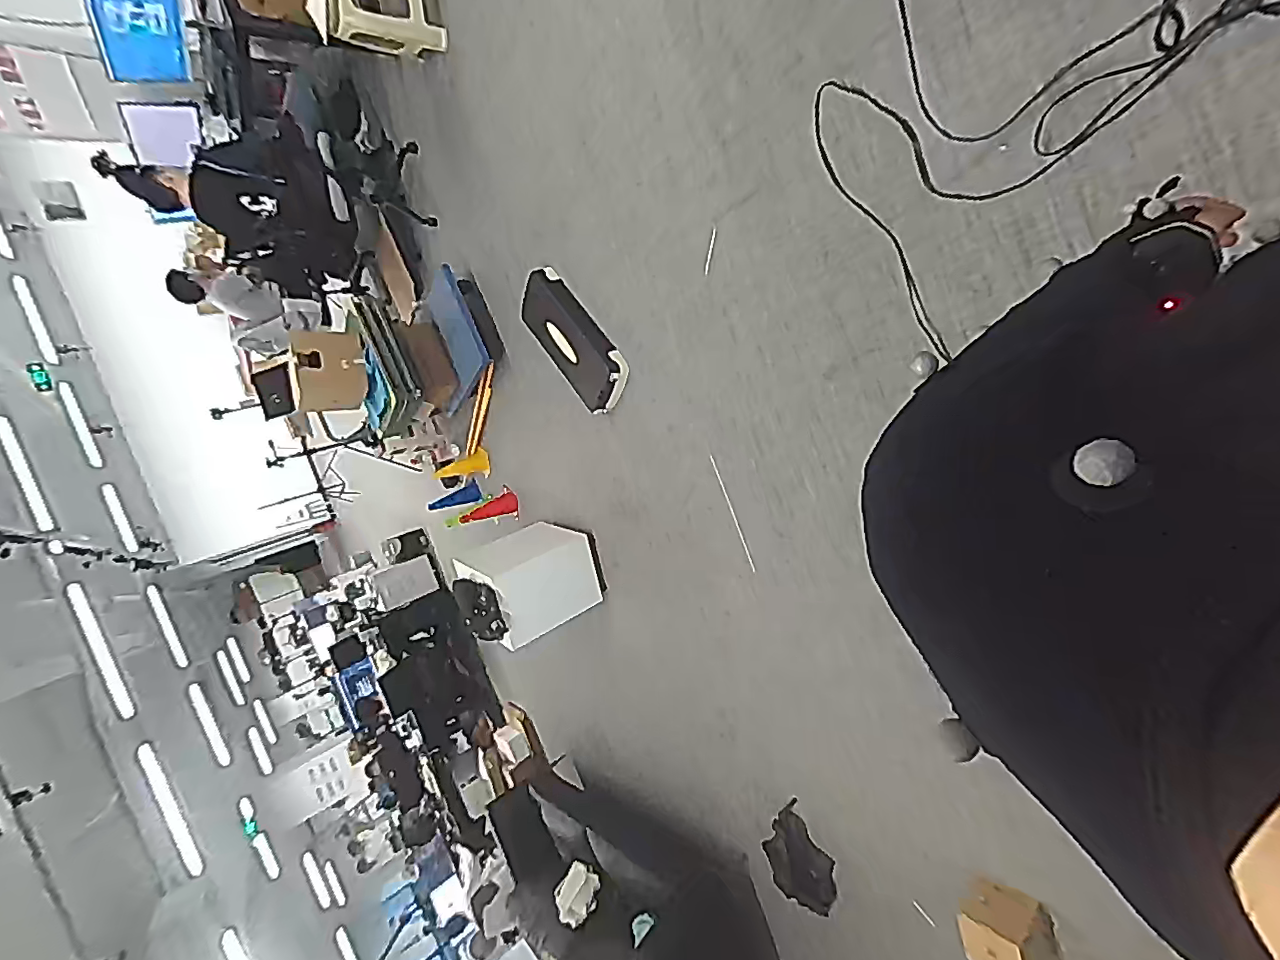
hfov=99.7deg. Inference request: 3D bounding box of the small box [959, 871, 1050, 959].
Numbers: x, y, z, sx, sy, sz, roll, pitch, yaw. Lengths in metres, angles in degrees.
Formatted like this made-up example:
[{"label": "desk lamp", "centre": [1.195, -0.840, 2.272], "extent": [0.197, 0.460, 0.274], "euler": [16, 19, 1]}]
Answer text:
[{"label": "small box", "centre": [1.073, 1.314, 1.590], "extent": [0.168, 0.176, 0.179], "euler": [-4, 106, 55]}]
